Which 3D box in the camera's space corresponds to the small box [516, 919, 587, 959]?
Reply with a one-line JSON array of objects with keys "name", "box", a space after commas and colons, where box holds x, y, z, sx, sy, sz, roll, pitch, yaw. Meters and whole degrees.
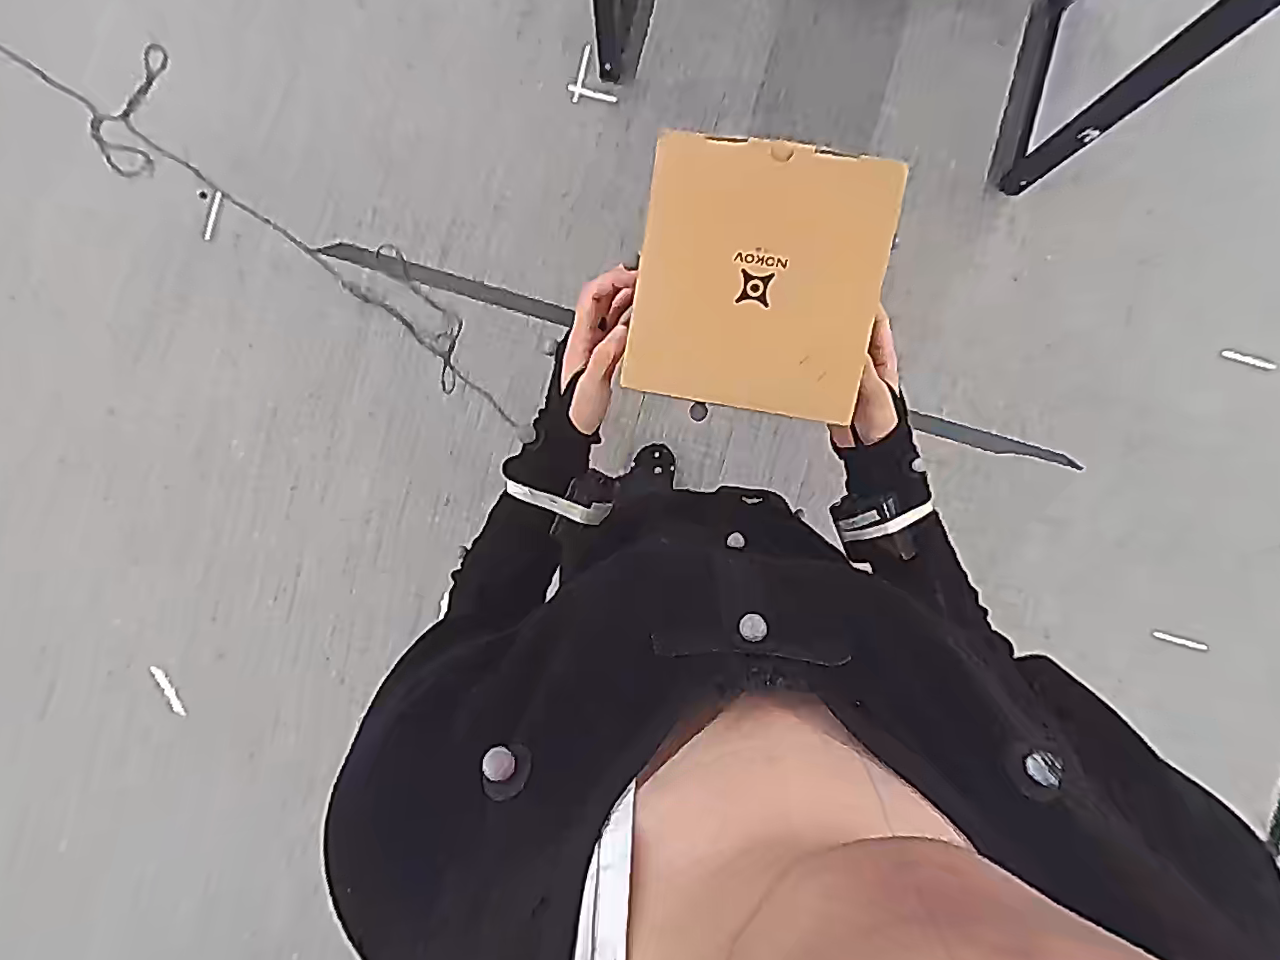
[{"name": "small box", "box": [-0.226, 1.210, 1.292, 0.168, 0.176, 0.179, 15, 92, -1]}]

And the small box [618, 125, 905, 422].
[{"name": "small box", "box": [0.086, -0.149, 0.445, 0.168, 0.176, 0.179, 10, 98, 4]}]

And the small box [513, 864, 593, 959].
[{"name": "small box", "box": [-0.228, 1.194, 1.456, 0.168, 0.176, 0.179, 18, 91, -2]}]
